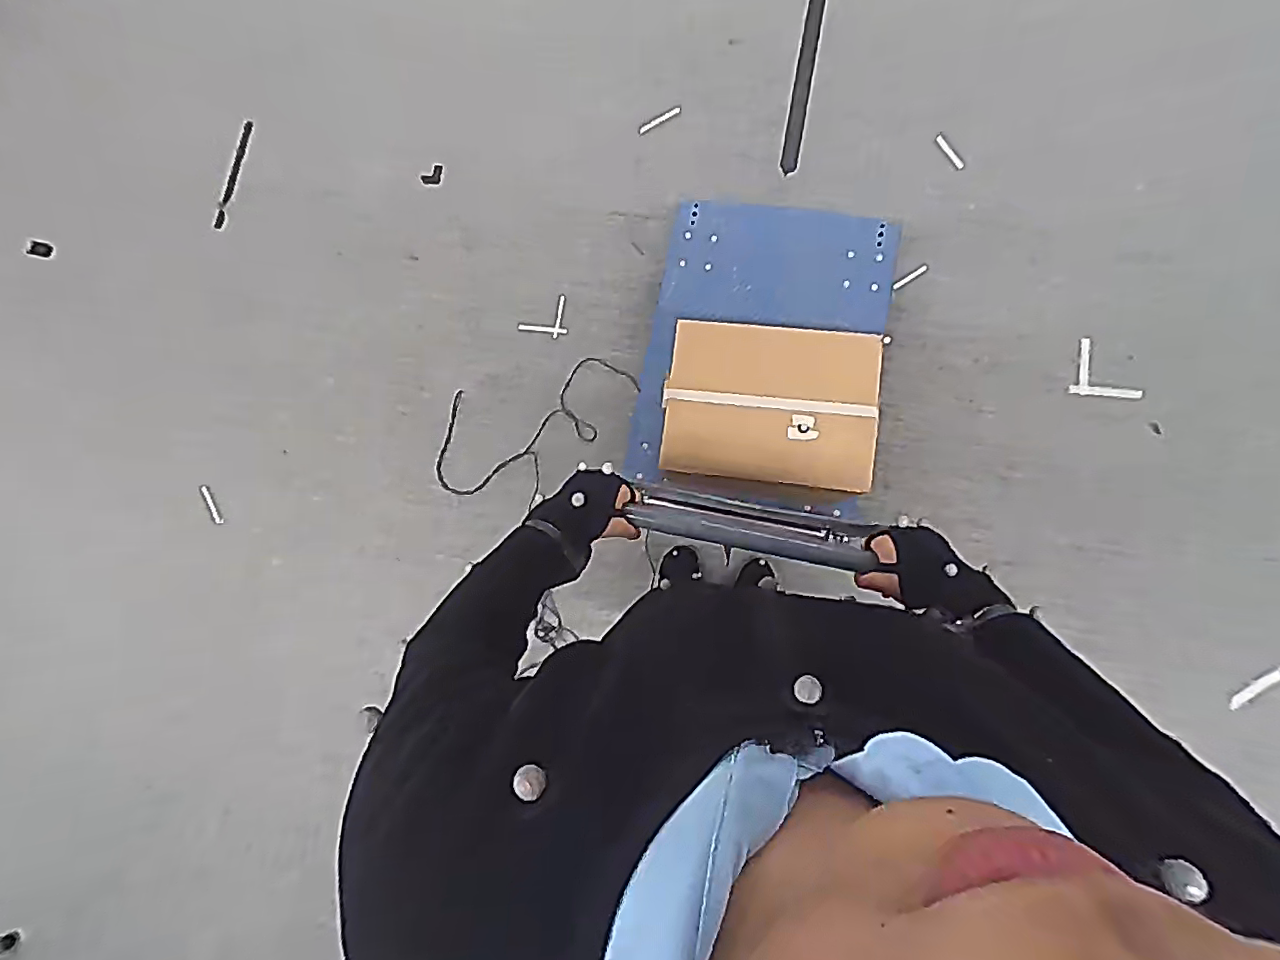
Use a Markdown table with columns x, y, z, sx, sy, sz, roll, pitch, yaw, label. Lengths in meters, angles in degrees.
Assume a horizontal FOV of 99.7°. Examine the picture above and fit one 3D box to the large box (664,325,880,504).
| x | y | z | sx | sy | sz | roll | pitch | yaw | label |
| --- | --- | --- | --- | --- | --- | --- | --- | --- | --- |
| 0.272 | -0.128 | 1.213 | 0.408 | 0.320 | 0.320 | 7 | 84 | 7 | large box |
